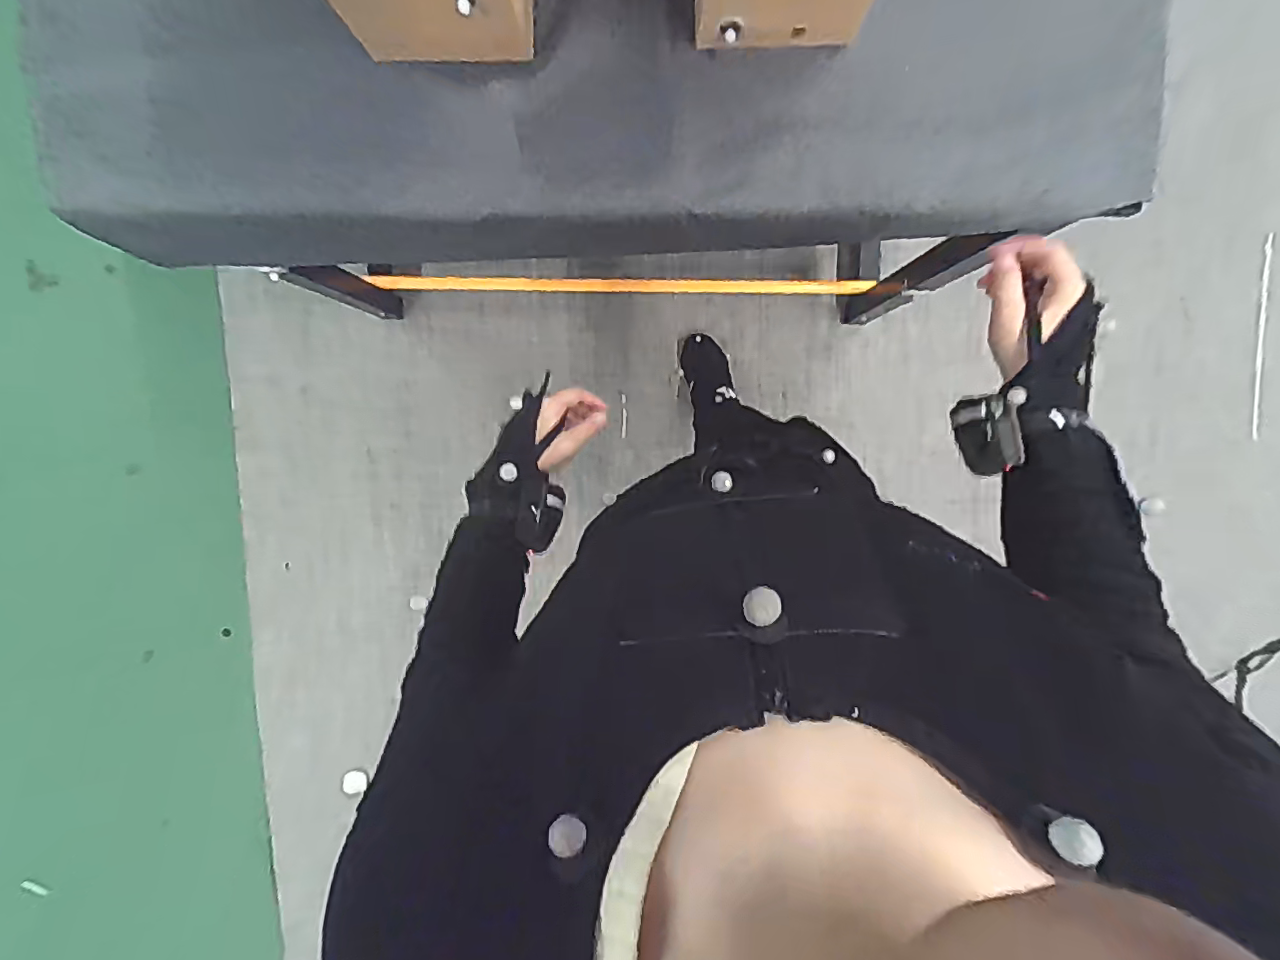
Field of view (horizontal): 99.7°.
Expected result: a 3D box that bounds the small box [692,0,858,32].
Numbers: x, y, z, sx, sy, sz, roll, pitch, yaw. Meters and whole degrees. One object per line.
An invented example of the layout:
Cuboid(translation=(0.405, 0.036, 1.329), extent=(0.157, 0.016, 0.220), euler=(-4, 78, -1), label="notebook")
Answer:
Cuboid(translation=(0.134, -0.542, 0.479), extent=(0.168, 0.176, 0.179), euler=(-1, 95, 1), label="small box")

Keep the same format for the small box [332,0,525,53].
Cuboid(translation=(-0.203, -0.526, 0.487), extent=(0.179, 0.176, 0.168), euler=(0, 94, 2), label="small box")
